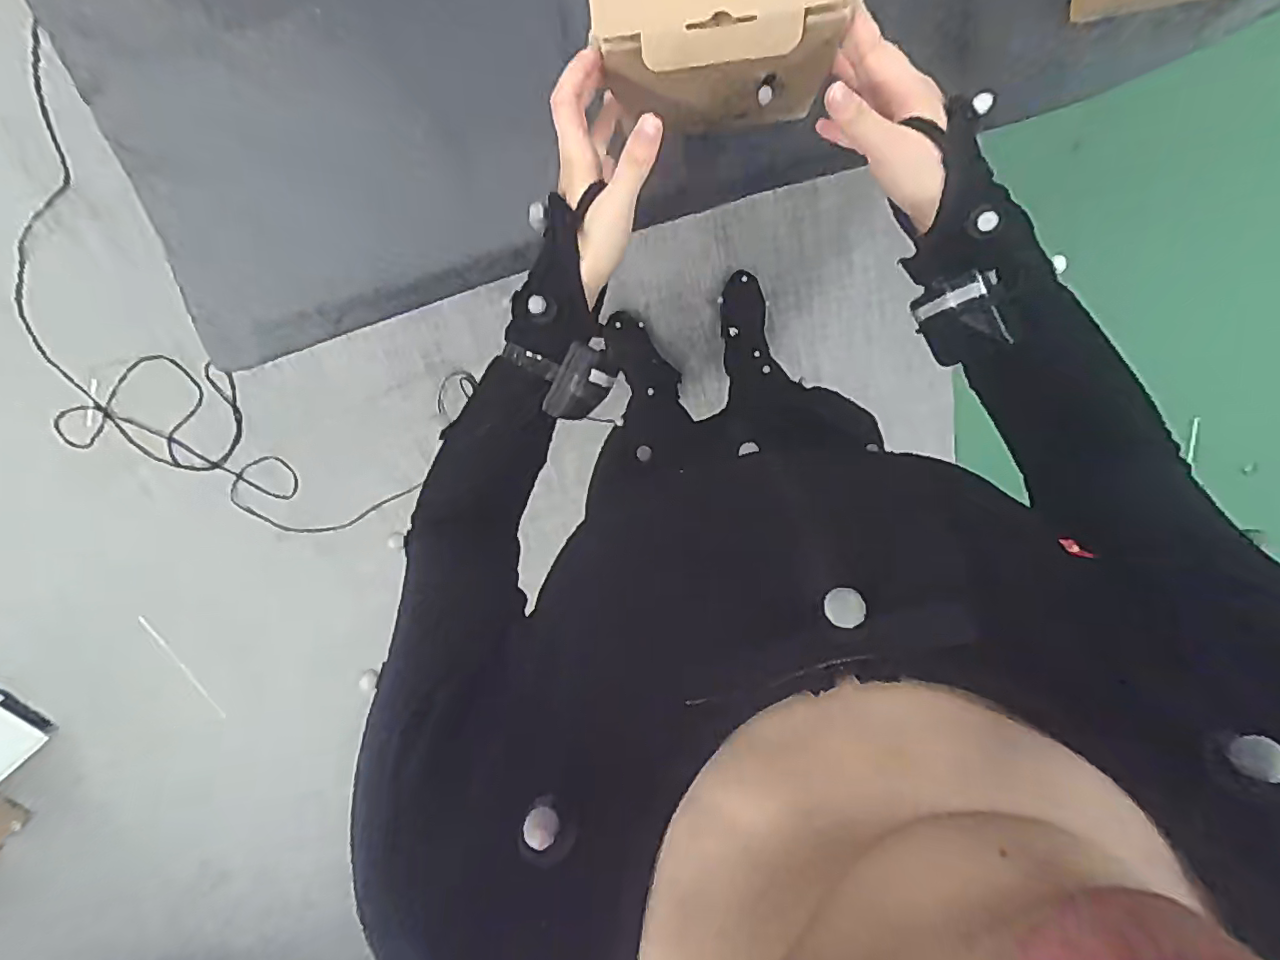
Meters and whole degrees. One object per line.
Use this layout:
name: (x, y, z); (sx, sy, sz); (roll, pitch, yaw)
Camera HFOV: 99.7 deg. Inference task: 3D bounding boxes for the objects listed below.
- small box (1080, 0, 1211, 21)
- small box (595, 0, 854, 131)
small box: (0.500, -0.506, 0.427); (0.179, 0.176, 0.168); (-9, 111, 4)
small box: (0.057, -0.386, 0.403); (0.168, 0.176, 0.179); (-3, 104, 7)
